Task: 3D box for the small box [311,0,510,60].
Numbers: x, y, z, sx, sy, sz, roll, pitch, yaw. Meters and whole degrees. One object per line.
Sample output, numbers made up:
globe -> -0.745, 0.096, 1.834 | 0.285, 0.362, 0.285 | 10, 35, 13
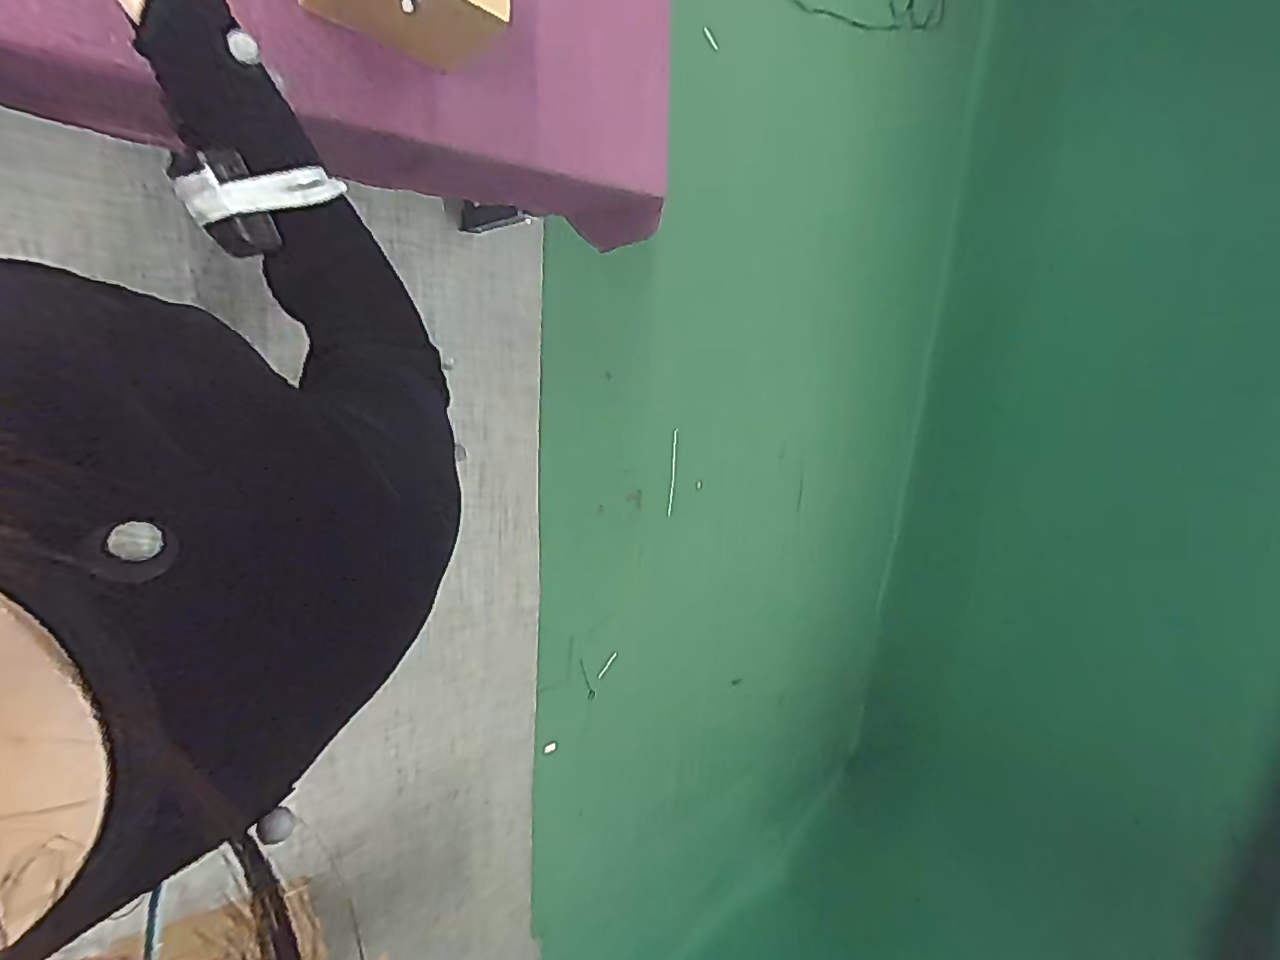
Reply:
small box -> -0.254, -0.599, 0.582 | 0.179, 0.176, 0.168 | -5, 106, -42
